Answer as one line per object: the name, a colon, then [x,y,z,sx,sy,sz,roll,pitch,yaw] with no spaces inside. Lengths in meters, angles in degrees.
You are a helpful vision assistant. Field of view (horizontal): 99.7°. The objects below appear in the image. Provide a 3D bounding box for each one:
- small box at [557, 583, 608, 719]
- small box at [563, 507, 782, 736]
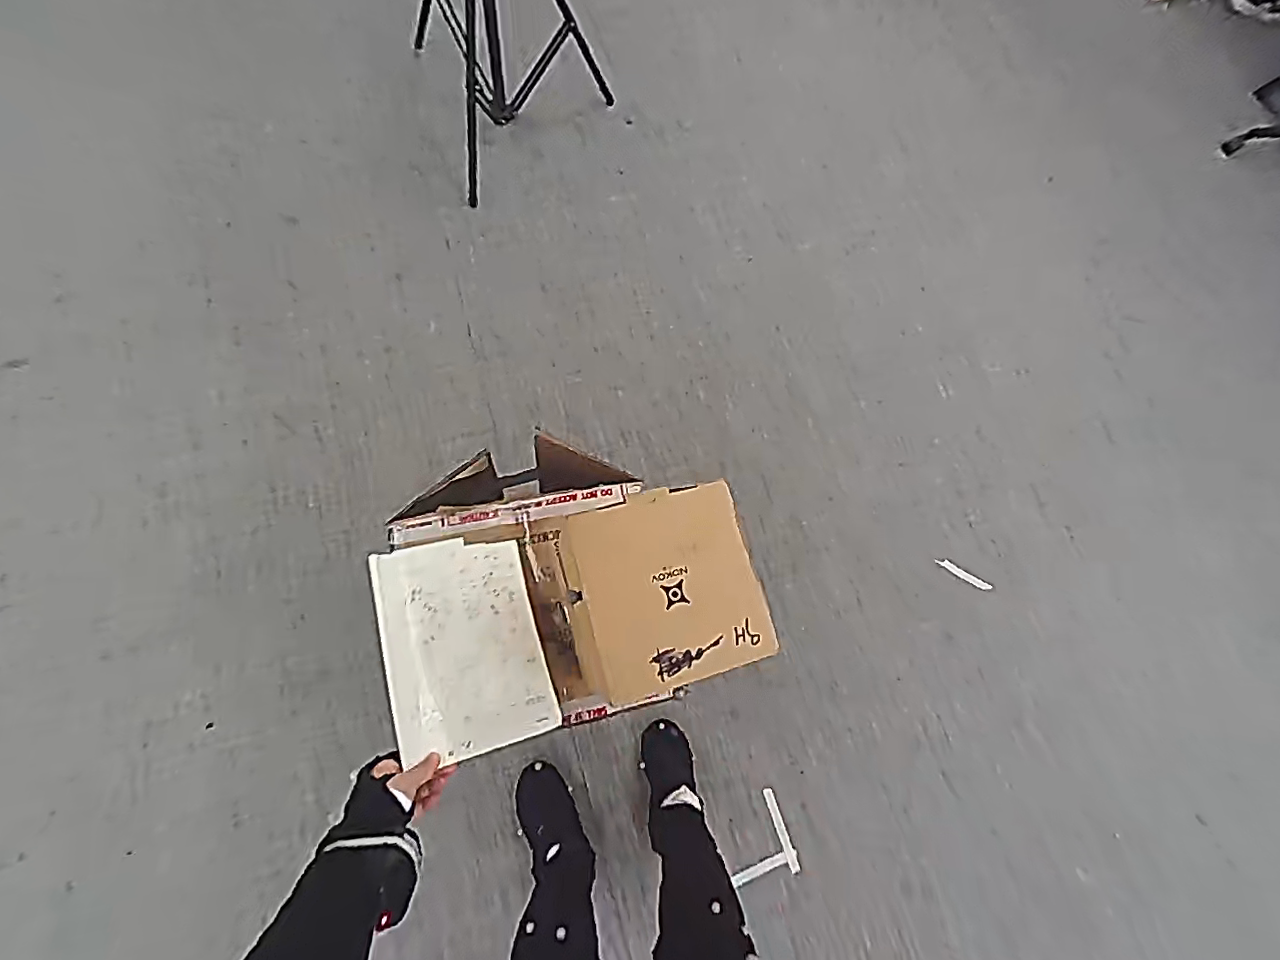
small box: [-0.006,0.198,0.730,0.179,0.176,0.168,-16,78,-14]
small box: [0.018,0.146,0.576,0.168,0.176,0.179,-13,77,-14]
